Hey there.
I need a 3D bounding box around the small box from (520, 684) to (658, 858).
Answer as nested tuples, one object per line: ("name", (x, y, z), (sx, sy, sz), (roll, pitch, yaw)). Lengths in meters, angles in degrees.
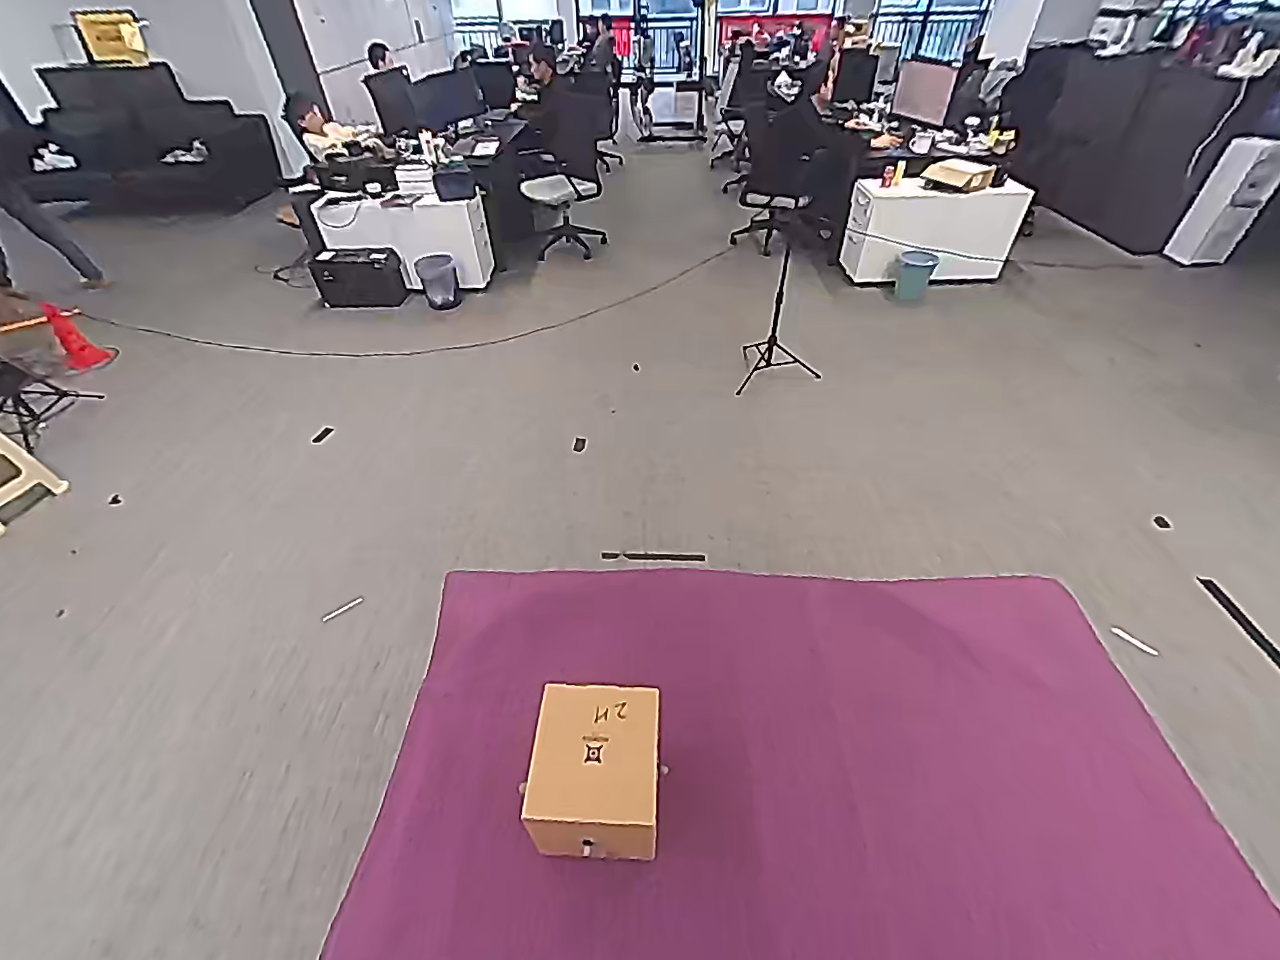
("small box", (-0.059, 0.414, 0.767), (0.168, 0.176, 0.179), (2, 43, 3))
